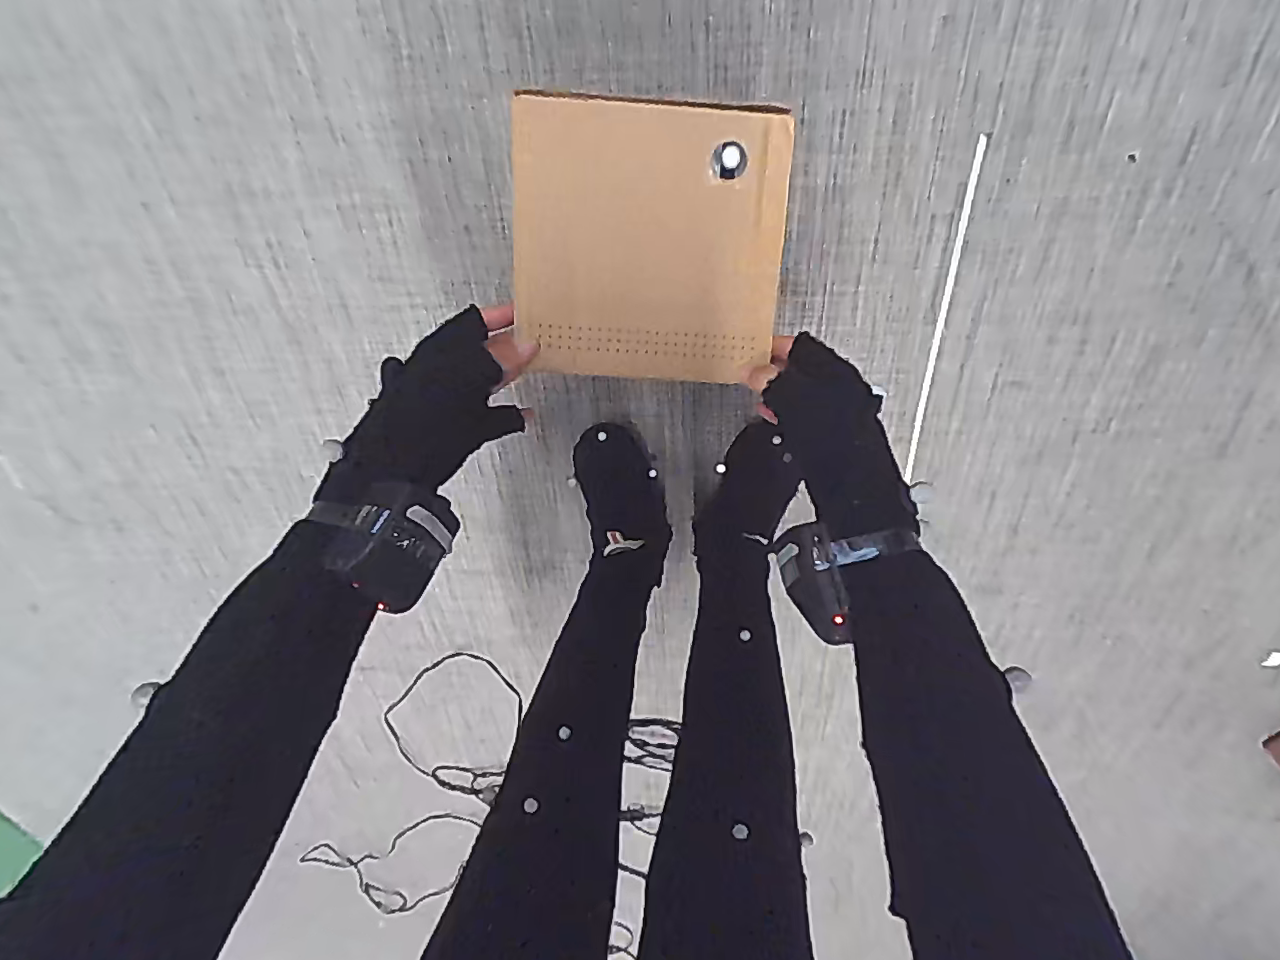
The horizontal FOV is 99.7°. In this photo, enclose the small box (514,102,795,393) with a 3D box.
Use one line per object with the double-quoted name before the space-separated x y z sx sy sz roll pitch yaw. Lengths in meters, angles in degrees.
"small box" 0.005 -0.161 0.423 0.179 0.168 0.176 4 106 -2
